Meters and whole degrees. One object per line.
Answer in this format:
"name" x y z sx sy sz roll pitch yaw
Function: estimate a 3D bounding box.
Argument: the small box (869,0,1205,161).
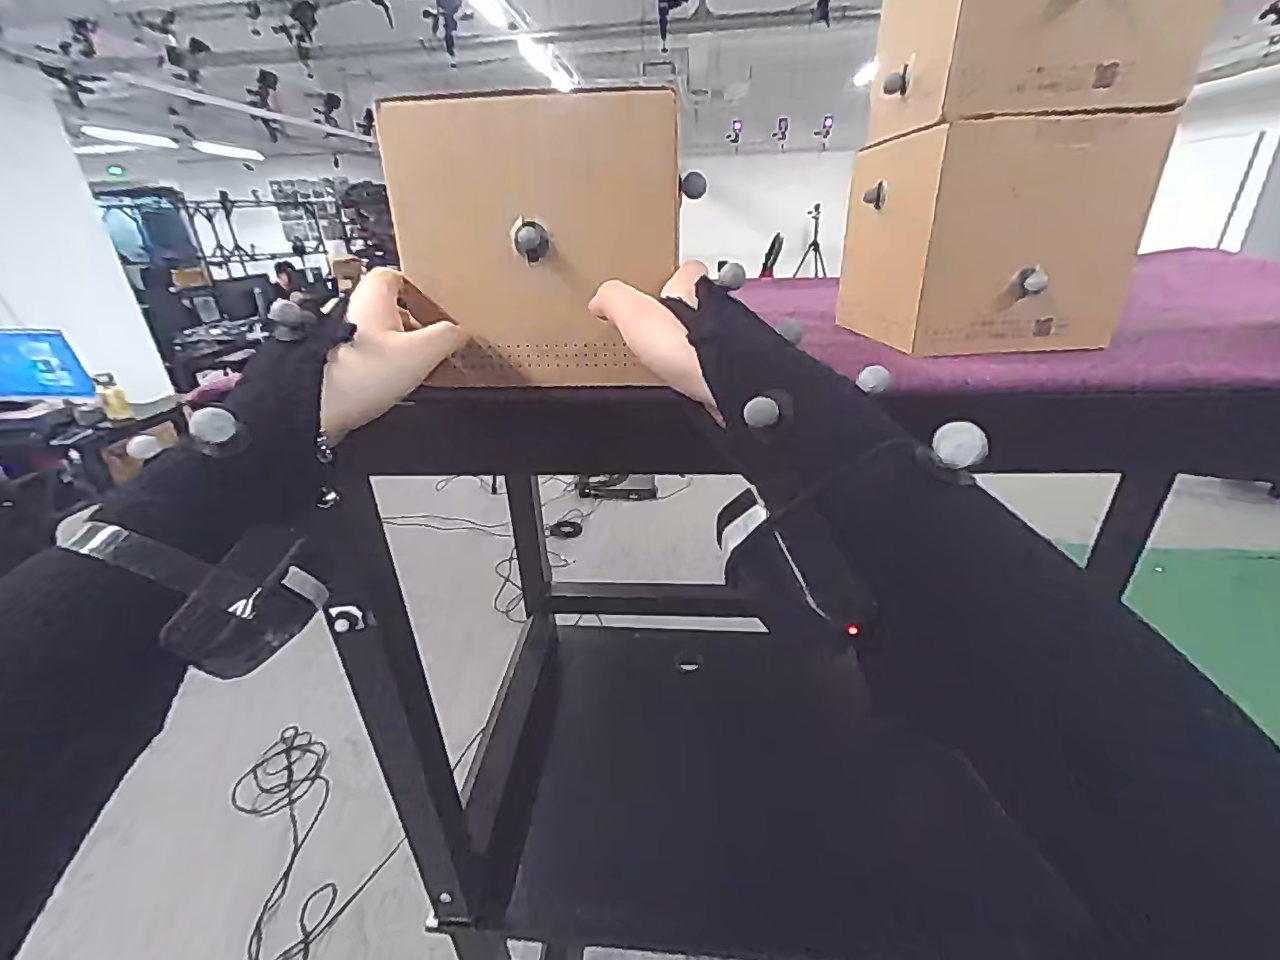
"small box" 0.297 -0.359 0.423 0.168 0.176 0.179 0 26 3
